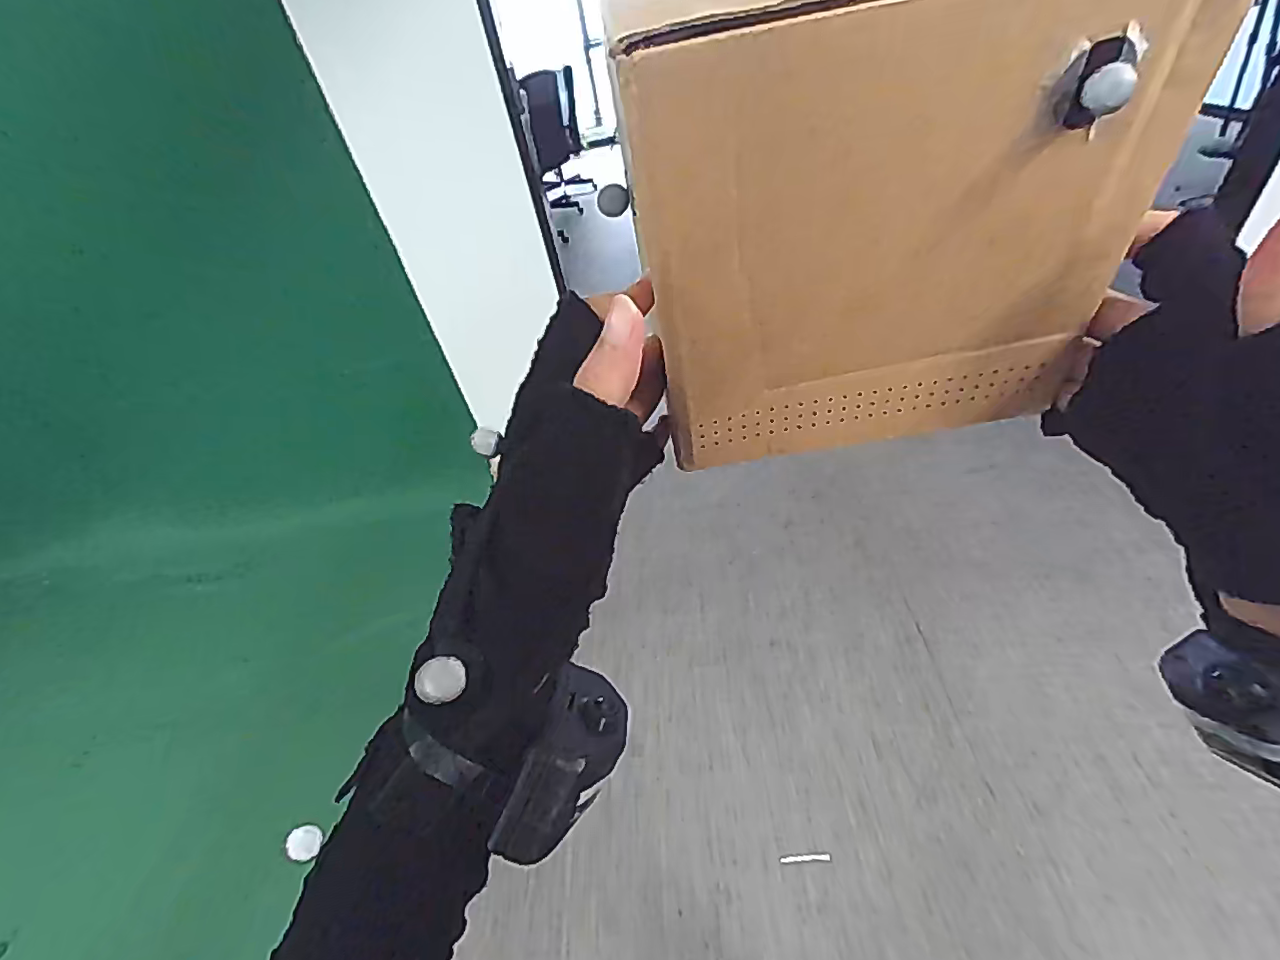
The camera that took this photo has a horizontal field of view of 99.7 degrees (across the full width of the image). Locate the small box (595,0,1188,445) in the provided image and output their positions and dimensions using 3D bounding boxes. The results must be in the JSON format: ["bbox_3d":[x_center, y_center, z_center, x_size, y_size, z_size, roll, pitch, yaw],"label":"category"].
[{"bbox_3d":[0.082,-0.134,0.260,0.179,0.176,0.168,-9,47,3],"label":"small box"}]
